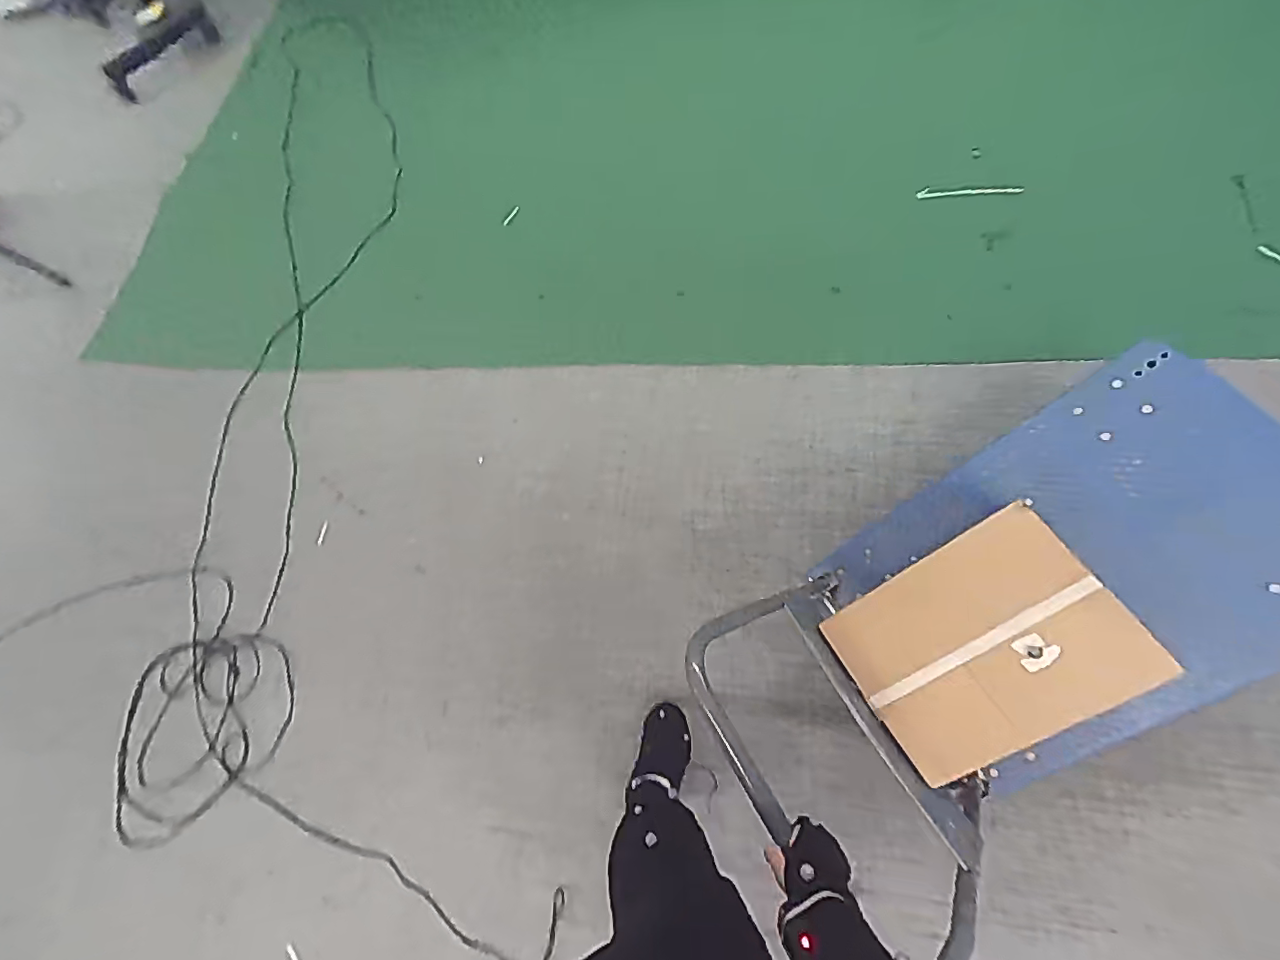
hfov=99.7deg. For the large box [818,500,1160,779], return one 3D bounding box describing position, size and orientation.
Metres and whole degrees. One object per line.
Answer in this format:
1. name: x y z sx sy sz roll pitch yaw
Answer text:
1. large box: 0.626 0.293 1.042 0.408 0.320 0.320 -41 65 19
